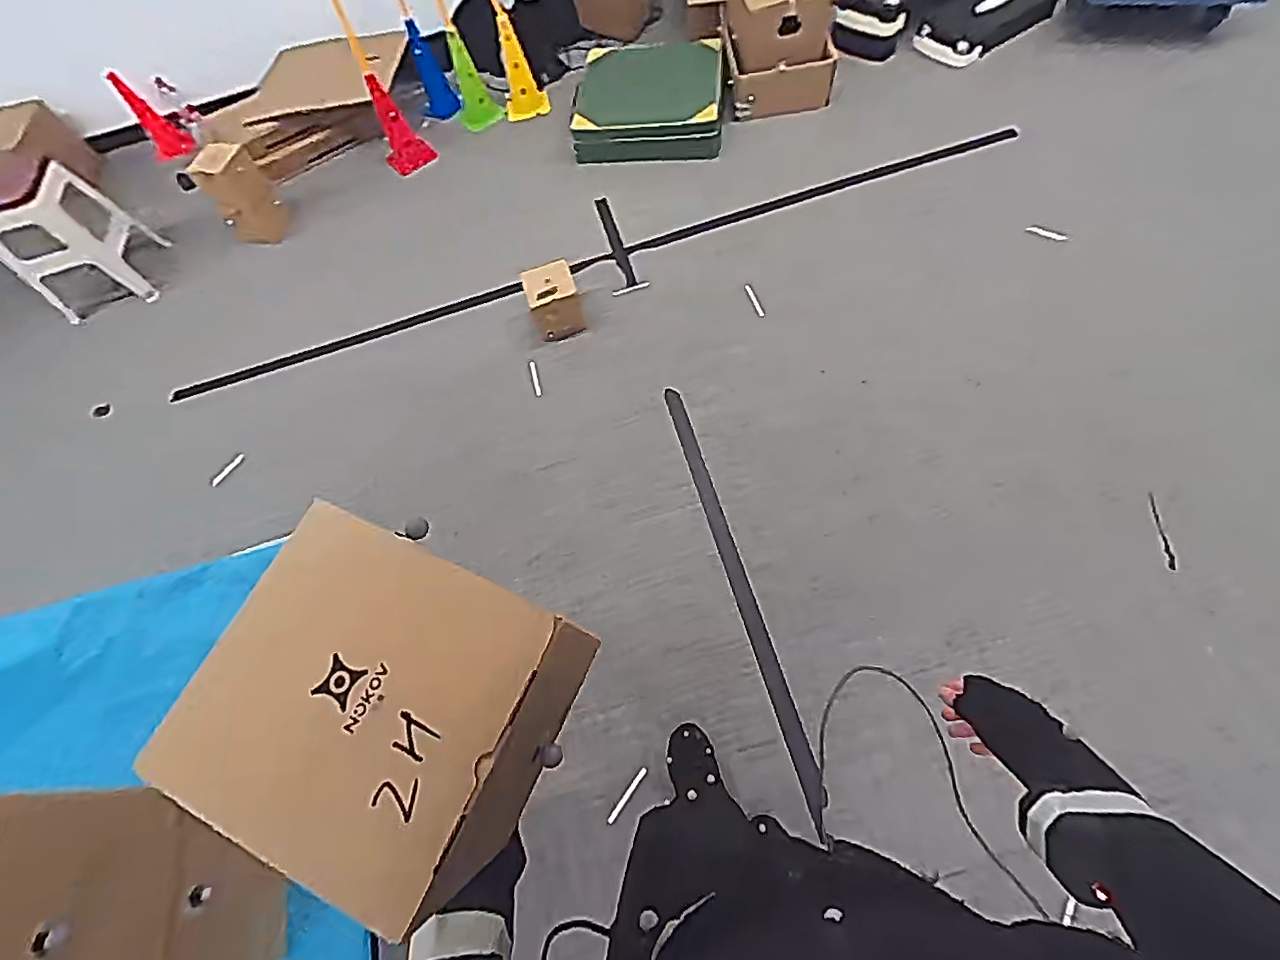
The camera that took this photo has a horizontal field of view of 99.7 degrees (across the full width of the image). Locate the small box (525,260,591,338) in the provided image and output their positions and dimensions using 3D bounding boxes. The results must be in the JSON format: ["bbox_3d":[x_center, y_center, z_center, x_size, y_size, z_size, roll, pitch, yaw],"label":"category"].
[{"bbox_3d":[-0.280,-0.618,1.875,0.168,0.176,0.179,-19,62,-1],"label":"small box"}]

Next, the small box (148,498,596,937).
[{"bbox_3d":[-0.149,0.141,0.370,0.179,0.176,0.168,27,75,11],"label":"small box"}]

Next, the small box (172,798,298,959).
[{"bbox_3d":[-0.491,0.446,0.568,0.168,0.176,0.179,-19,62,-1],"label":"small box"}]

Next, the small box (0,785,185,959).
[{"bbox_3d":[-0.510,0.366,0.428,0.168,0.176,0.179,-22,62,-2],"label":"small box"}]
